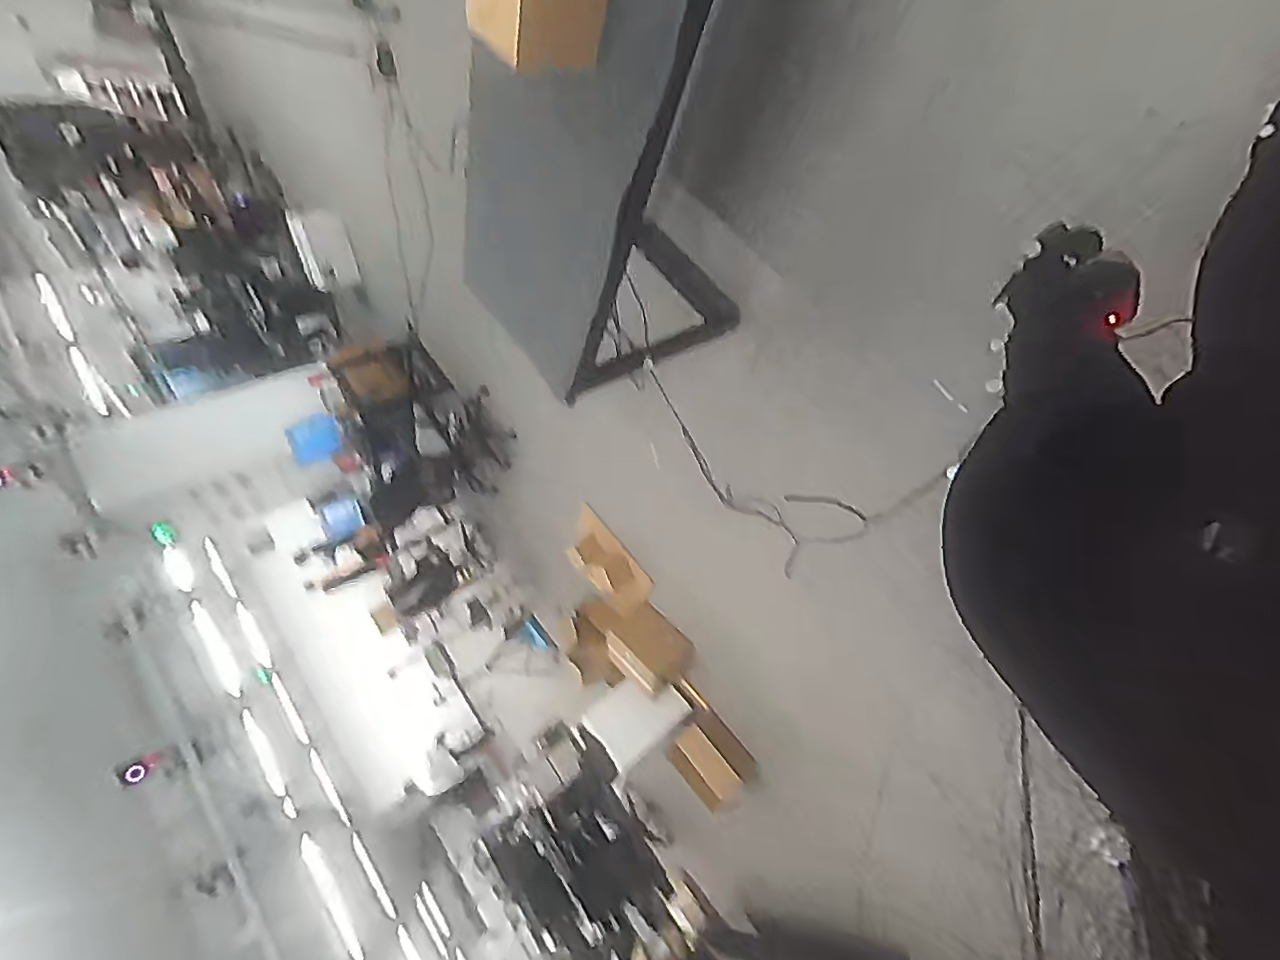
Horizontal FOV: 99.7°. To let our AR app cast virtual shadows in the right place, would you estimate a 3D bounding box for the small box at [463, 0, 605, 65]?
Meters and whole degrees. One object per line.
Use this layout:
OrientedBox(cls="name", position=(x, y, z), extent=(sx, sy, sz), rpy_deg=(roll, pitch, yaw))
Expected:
OrientedBox(cls="small box", position=(-0.168, -0.818, 0.881), extent=(0.168, 0.176, 0.179), rpy_deg=(51, 147, 17))
